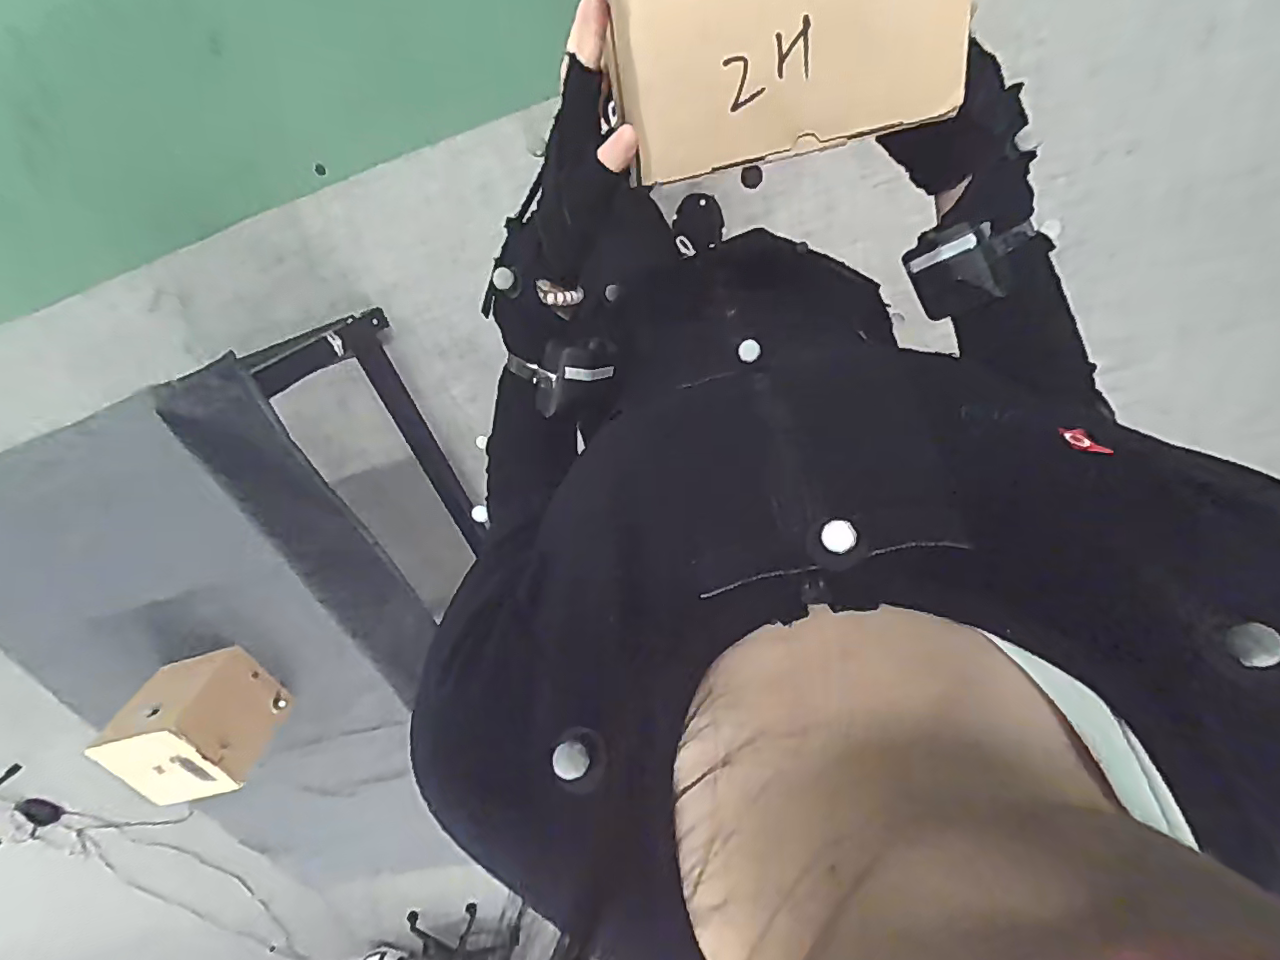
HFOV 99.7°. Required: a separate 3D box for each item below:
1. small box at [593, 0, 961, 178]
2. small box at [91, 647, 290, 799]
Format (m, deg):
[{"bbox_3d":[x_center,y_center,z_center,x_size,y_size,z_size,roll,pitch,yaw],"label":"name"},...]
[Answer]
[{"bbox_3d":[0.059,-0.288,0.311,0.168,0.176,0.179,-12,119,2],"label":"small box"},{"bbox_3d":[-0.755,0.415,0.939,0.179,0.176,0.168,-16,118,11],"label":"small box"}]
